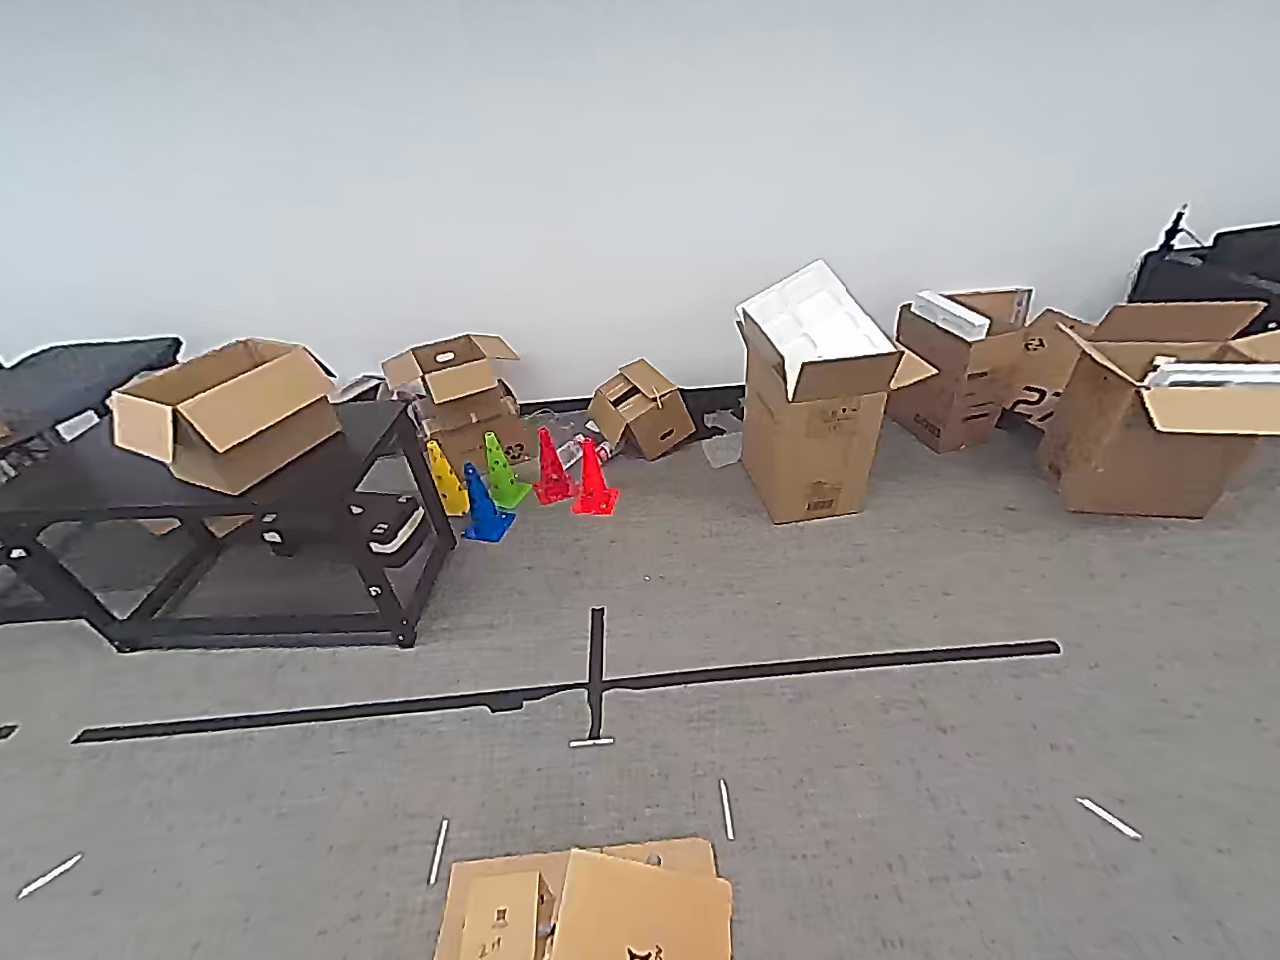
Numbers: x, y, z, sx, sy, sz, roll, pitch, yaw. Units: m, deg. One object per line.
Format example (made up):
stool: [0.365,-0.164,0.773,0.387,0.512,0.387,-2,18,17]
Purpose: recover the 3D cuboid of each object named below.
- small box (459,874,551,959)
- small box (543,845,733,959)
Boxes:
small box: [-0.303,1.050,1.250,0.168,0.176,0.179,-6,37,-1]
small box: [-0.013,0.508,0.555,0.179,0.176,0.168,14,43,-2]
